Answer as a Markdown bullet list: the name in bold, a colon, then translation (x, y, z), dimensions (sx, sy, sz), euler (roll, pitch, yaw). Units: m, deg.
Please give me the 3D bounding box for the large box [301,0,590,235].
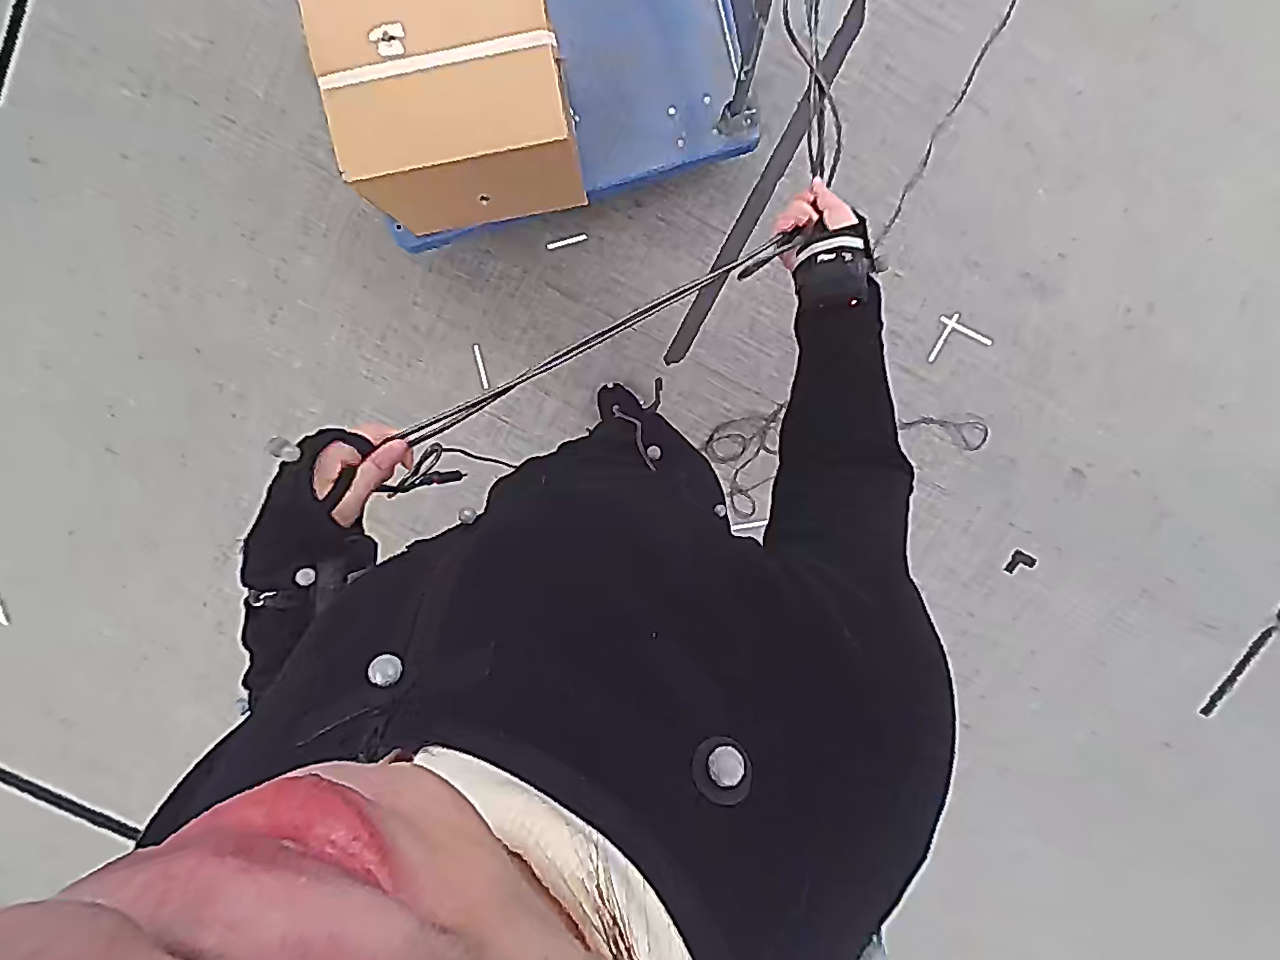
- **large box**: translation (-0.337, -0.714, 1.053), dimensions (0.408, 0.320, 0.320), euler (-10, 97, 3)
